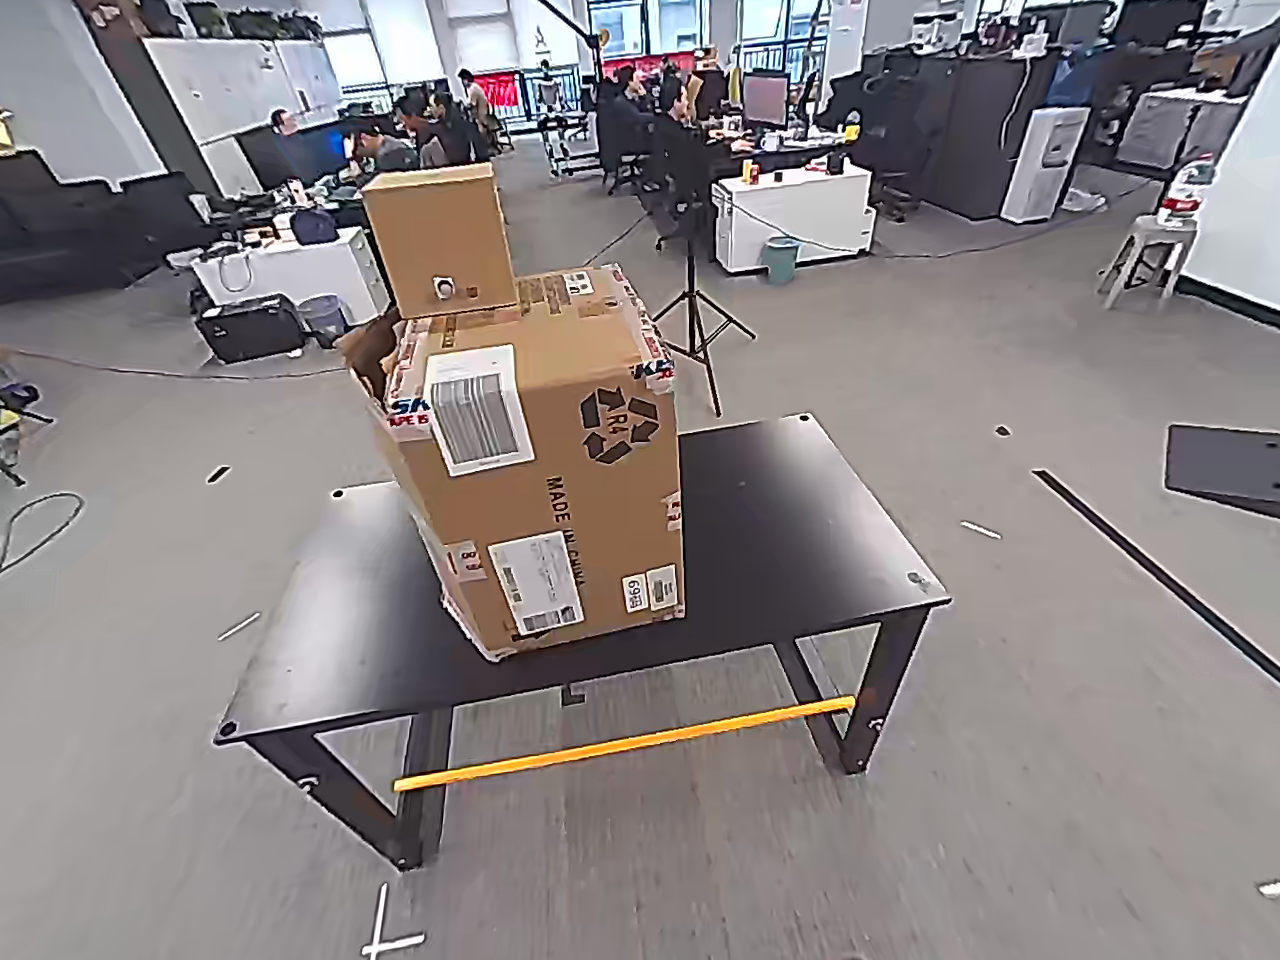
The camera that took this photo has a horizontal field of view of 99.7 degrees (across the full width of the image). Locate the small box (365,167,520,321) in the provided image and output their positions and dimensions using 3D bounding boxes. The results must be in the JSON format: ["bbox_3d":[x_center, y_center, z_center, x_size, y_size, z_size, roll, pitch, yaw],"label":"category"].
[{"bbox_3d":[-0.278,-0.350,0.797,0.168,0.176,0.179,-12,38,-9],"label":"small box"}]
